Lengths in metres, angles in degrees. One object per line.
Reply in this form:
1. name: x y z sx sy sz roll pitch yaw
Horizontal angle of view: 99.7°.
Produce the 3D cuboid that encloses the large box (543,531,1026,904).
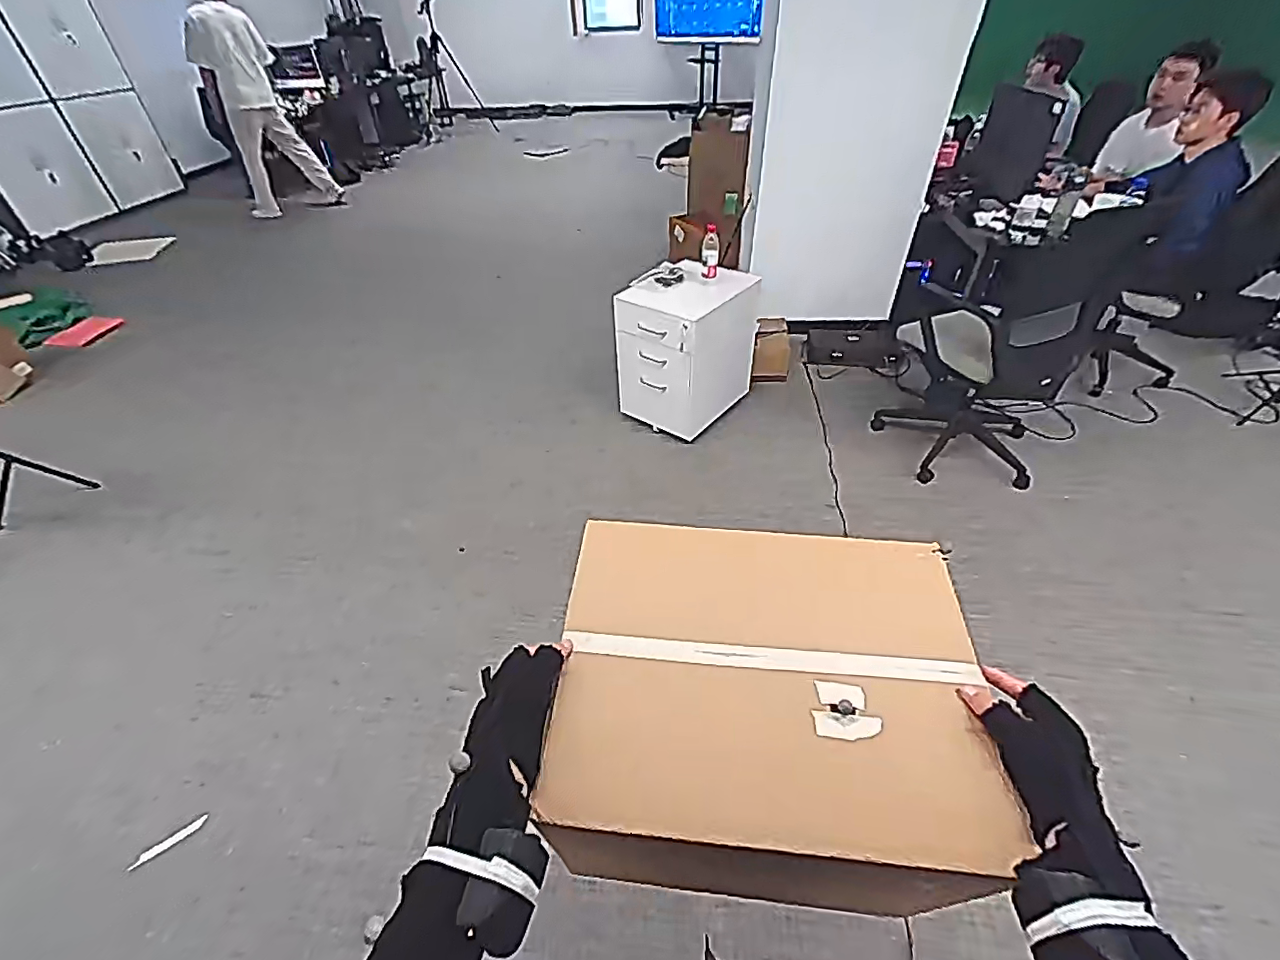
1. large box: 0.127 0.284 0.652 0.408 0.320 0.320 4 48 5
